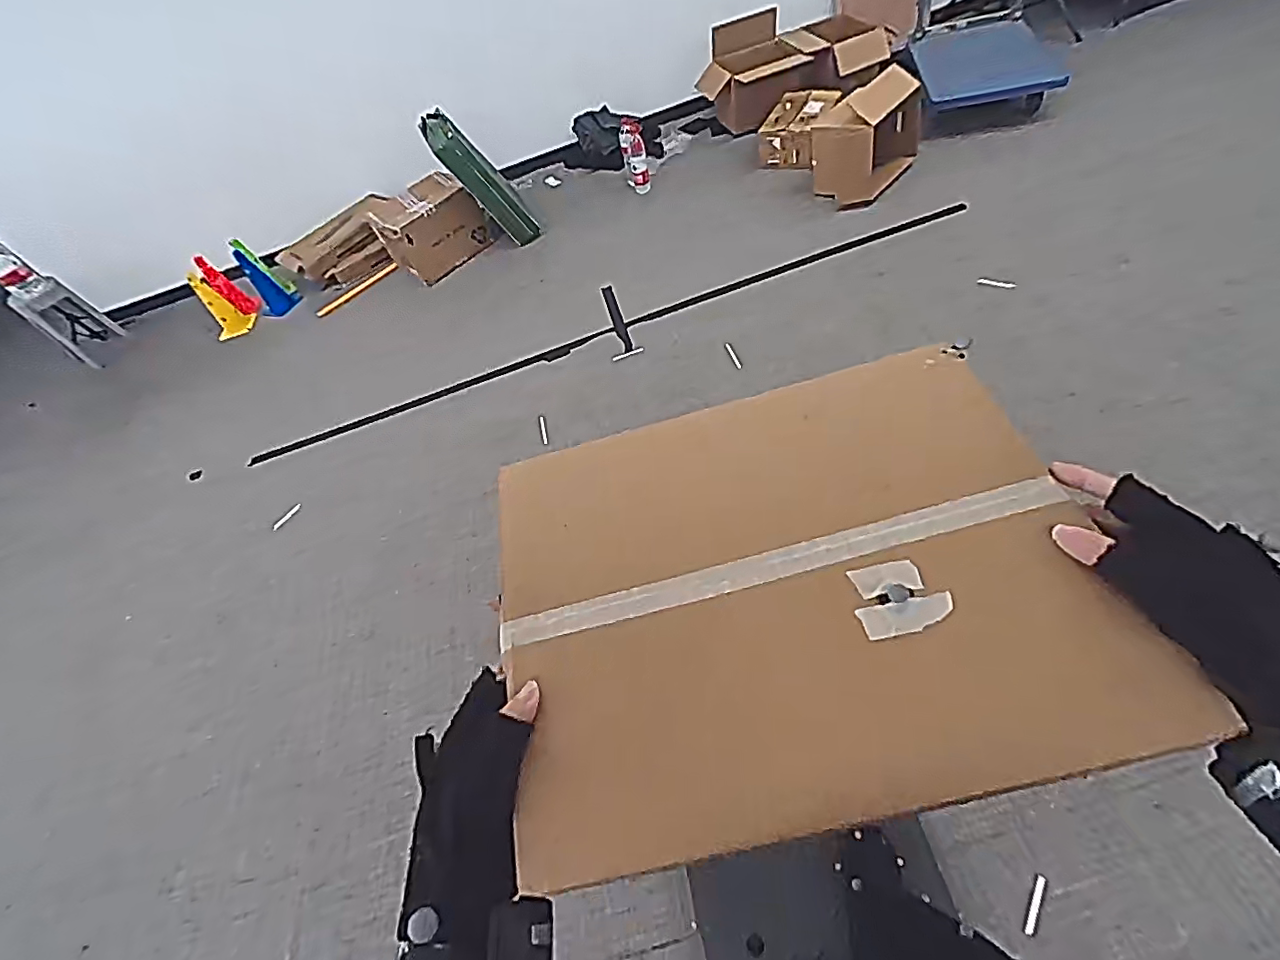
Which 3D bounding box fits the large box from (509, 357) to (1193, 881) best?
[{"bbox_3d":[0.127,0.147,0.523,0.408,0.320,0.320,-16,56,3],"label":"large box"}]
